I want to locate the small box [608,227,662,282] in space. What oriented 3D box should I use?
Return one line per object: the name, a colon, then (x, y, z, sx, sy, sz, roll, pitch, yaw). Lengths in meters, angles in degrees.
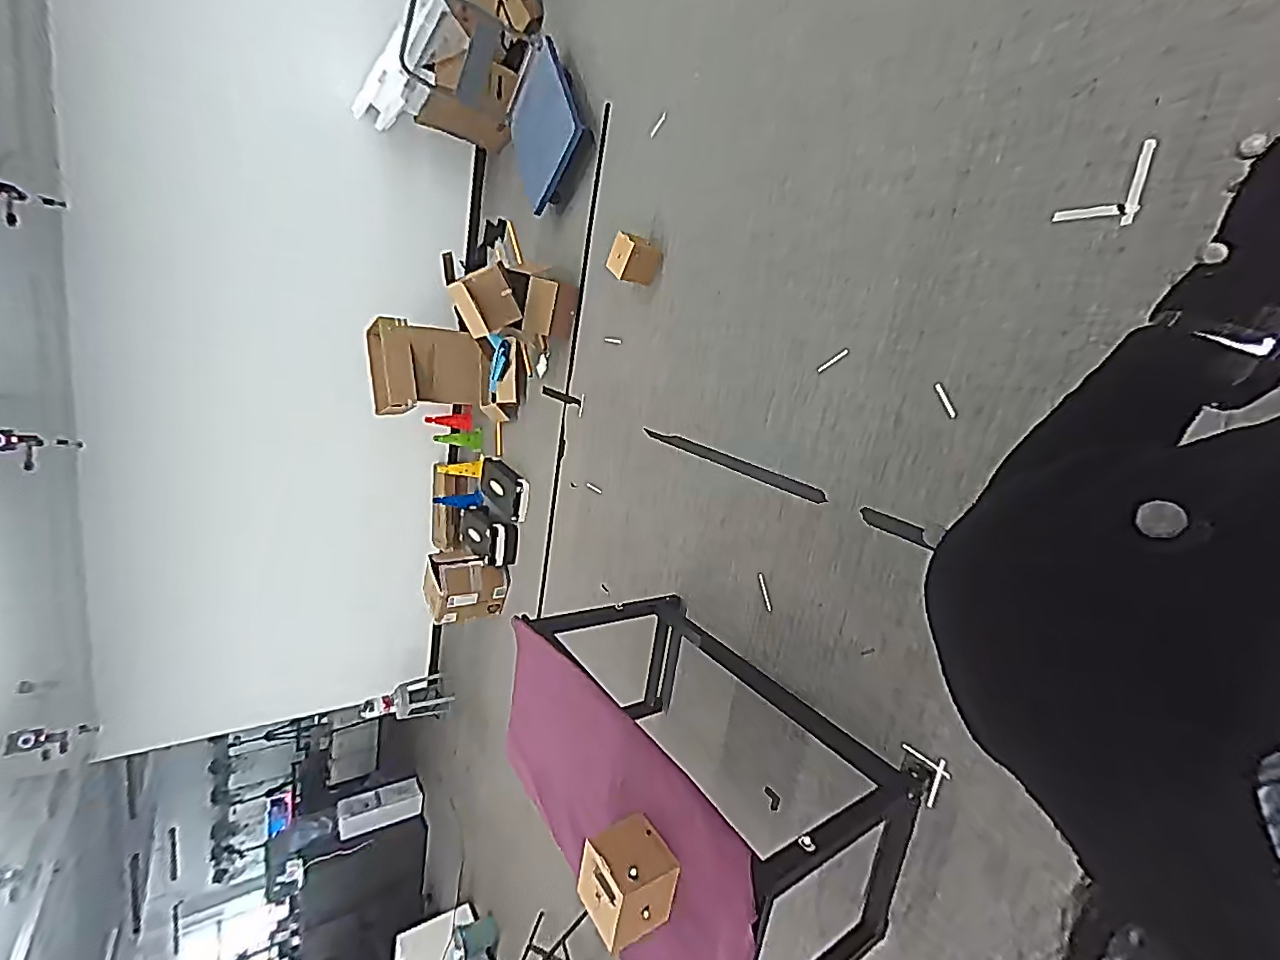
small box: (-0.023, -1.056, 2.545, 0.168, 0.176, 0.179, 57, 132, 38)
